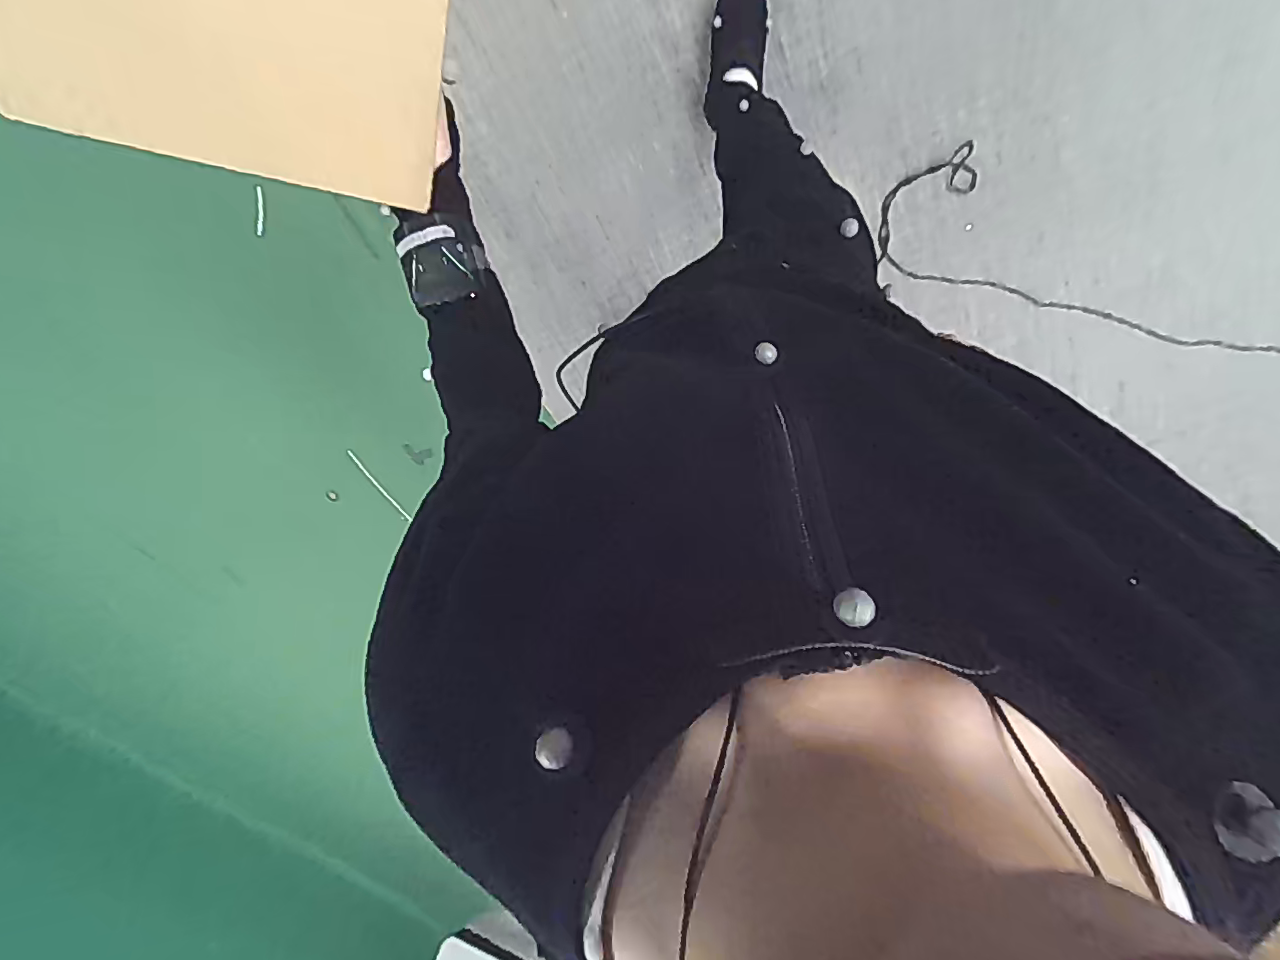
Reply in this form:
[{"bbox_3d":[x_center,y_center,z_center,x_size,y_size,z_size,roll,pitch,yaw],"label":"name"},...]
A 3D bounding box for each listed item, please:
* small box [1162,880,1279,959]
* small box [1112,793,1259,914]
[{"bbox_3d":[1.182,0.913,1.062,0.168,0.176,0.179,-20,121,17],"label":"small box"},{"bbox_3d":[1.197,0.828,1.202,0.168,0.176,0.179,-21,120,17],"label":"small box"}]
